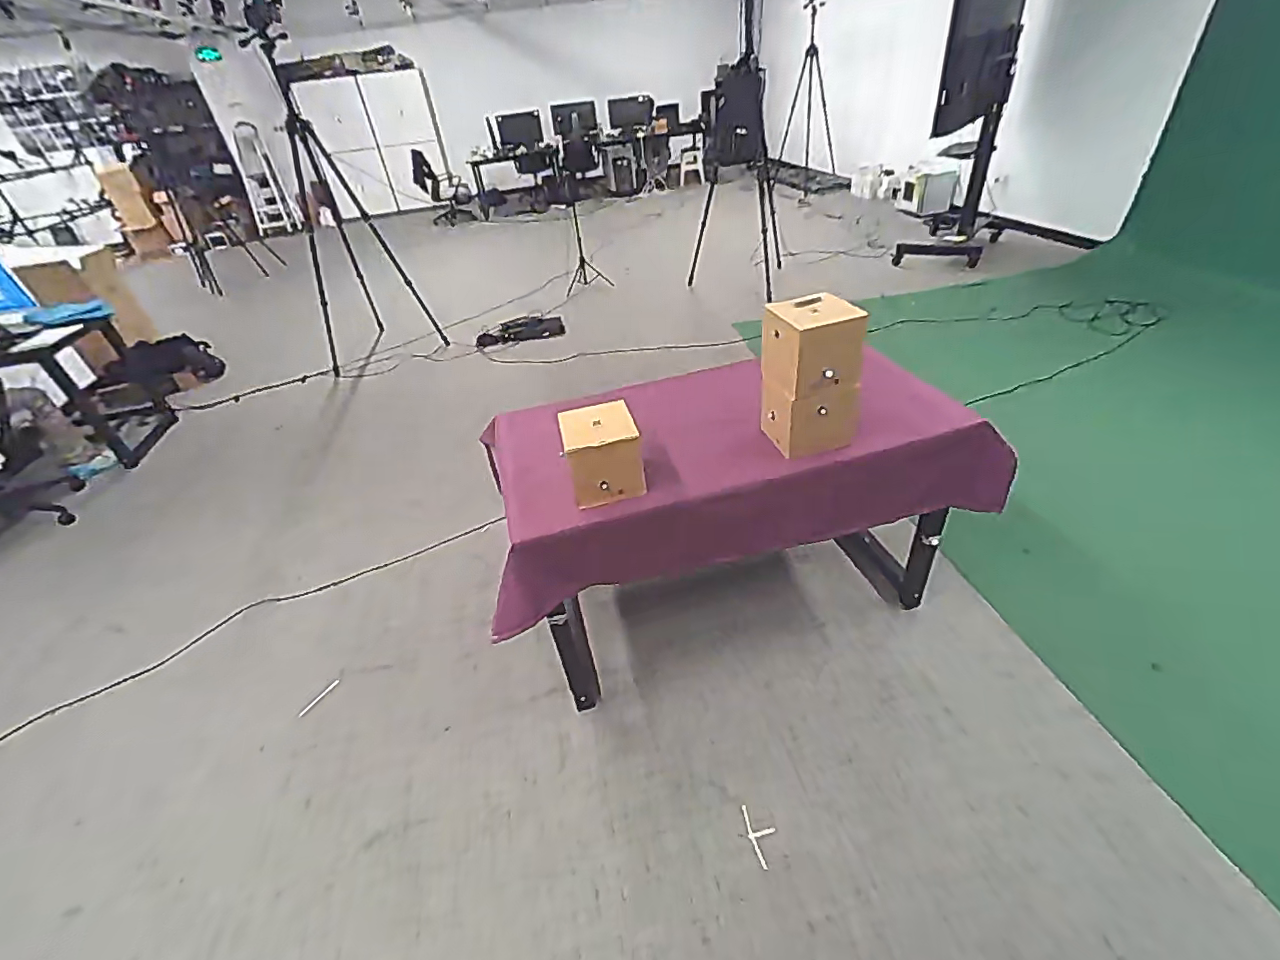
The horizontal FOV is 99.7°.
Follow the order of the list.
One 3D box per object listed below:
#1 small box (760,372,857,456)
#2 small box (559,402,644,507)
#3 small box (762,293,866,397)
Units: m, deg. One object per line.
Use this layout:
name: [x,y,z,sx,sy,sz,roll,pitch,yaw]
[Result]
small box: [0.412,-0.179,1.348,0.179,0.176,0.168,-13,37,-7]
small box: [-0.092,-0.061,1.288,0.168,0.176,0.179,-13,38,-7]
small box: [0.392,-0.314,1.256,0.168,0.176,0.179,-15,38,-9]
